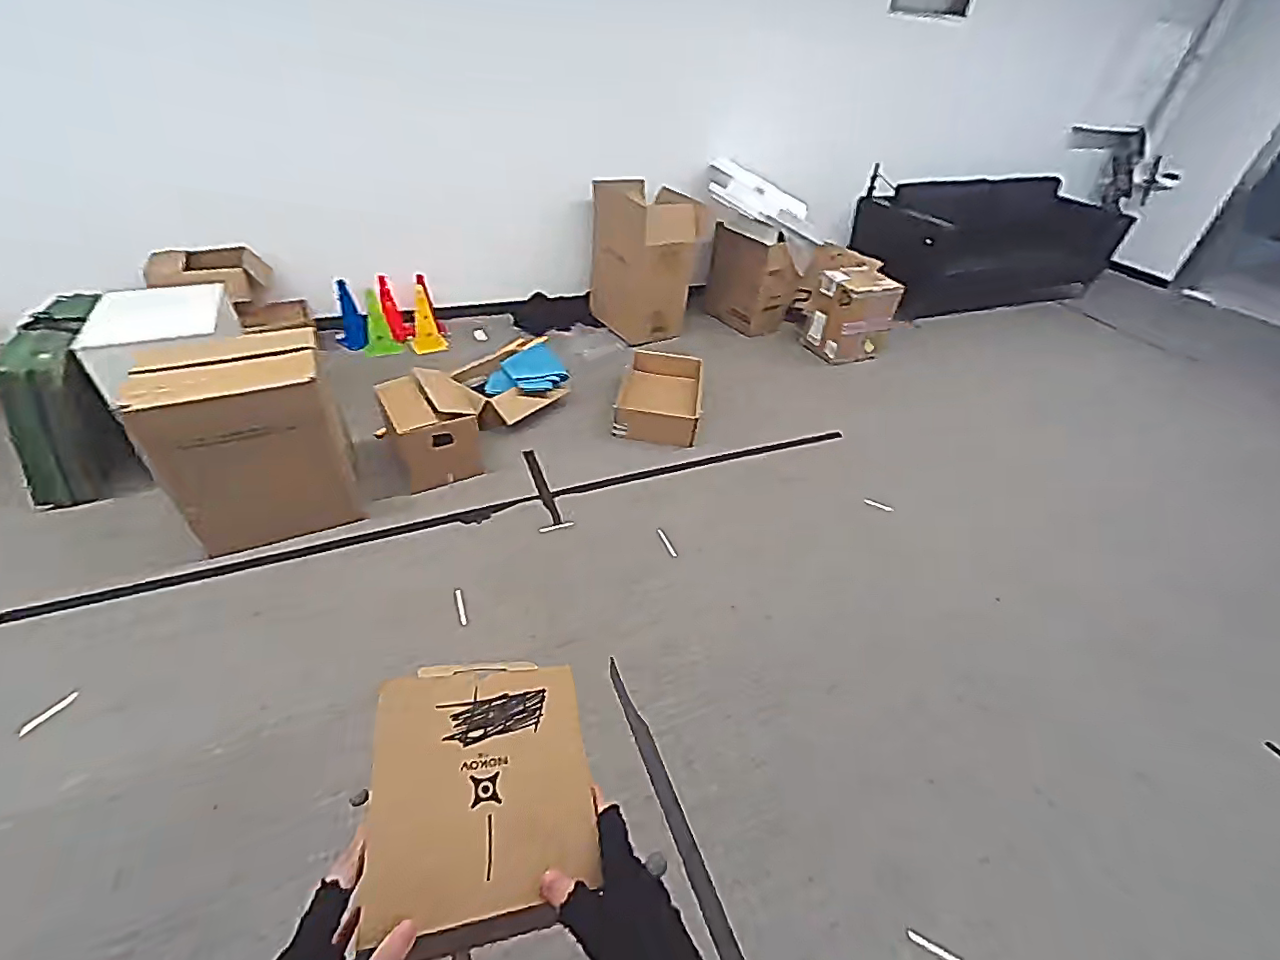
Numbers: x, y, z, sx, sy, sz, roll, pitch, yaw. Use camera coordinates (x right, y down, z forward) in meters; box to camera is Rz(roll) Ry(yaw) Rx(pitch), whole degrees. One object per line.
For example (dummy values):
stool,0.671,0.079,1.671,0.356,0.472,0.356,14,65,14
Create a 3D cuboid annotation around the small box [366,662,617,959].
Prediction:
small box,-0.138,0.281,0.468,0.168,0.176,0.179,5,44,-24
